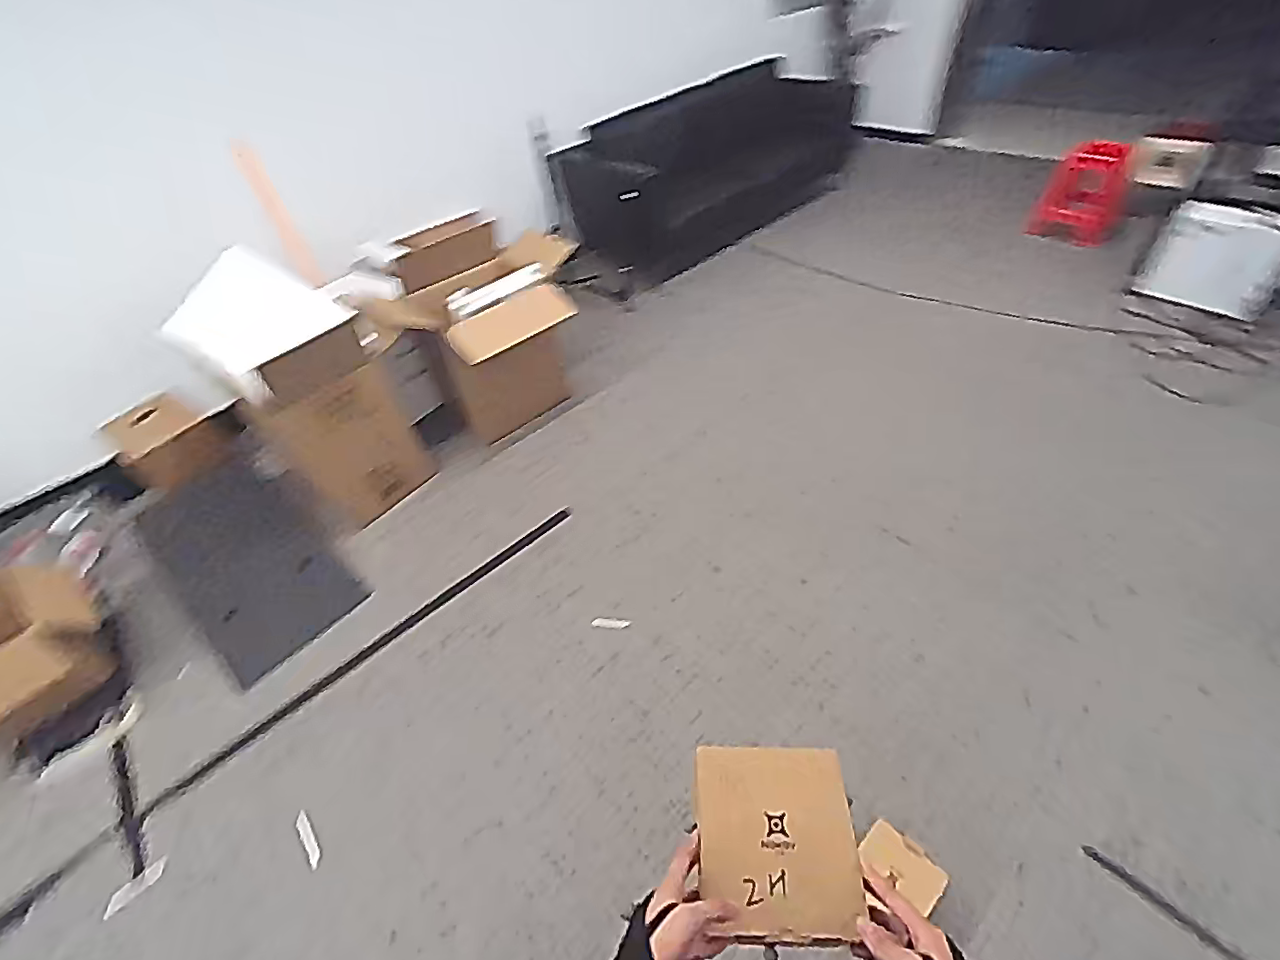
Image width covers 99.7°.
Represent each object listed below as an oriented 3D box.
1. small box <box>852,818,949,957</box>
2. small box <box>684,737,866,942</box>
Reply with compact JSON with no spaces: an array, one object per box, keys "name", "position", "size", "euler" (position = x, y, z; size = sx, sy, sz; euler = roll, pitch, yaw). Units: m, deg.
[{"name":"small box","position":[0.552,0.917,1.217],"size":[0.179,0.176,0.168],"euler":[-35,49,-25]},{"name":"small box","position":[0.138,0.420,0.632],"size":[0.168,0.176,0.179],"euler":[0,49,2]}]
